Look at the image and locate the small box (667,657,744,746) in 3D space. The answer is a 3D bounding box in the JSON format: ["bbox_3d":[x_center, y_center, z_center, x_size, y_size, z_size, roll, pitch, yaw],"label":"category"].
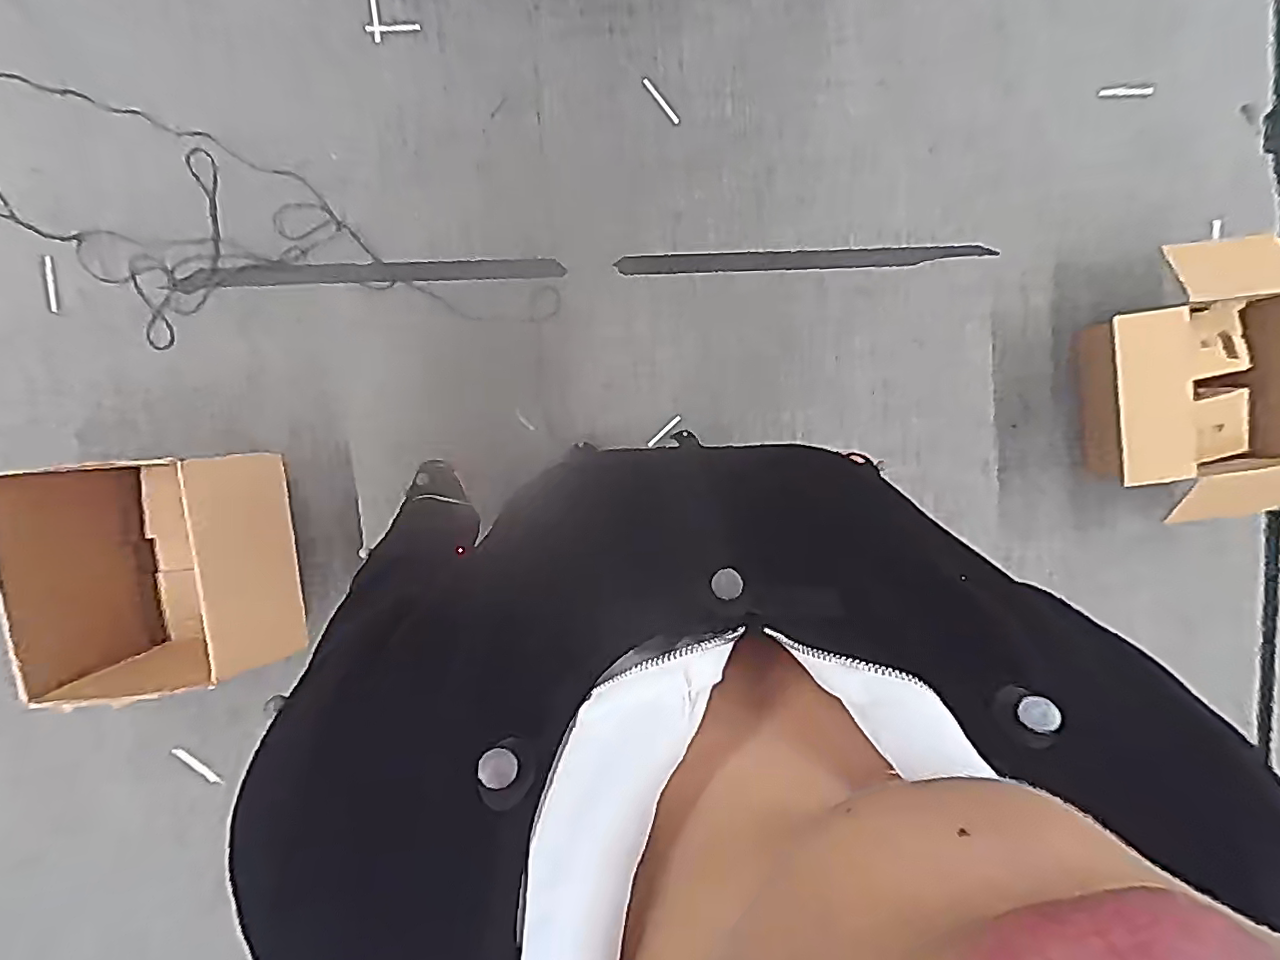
[{"bbox_3d":[0.166,0.572,1.415,0.179,0.176,0.168,-2,92,-1],"label":"small box"}]
